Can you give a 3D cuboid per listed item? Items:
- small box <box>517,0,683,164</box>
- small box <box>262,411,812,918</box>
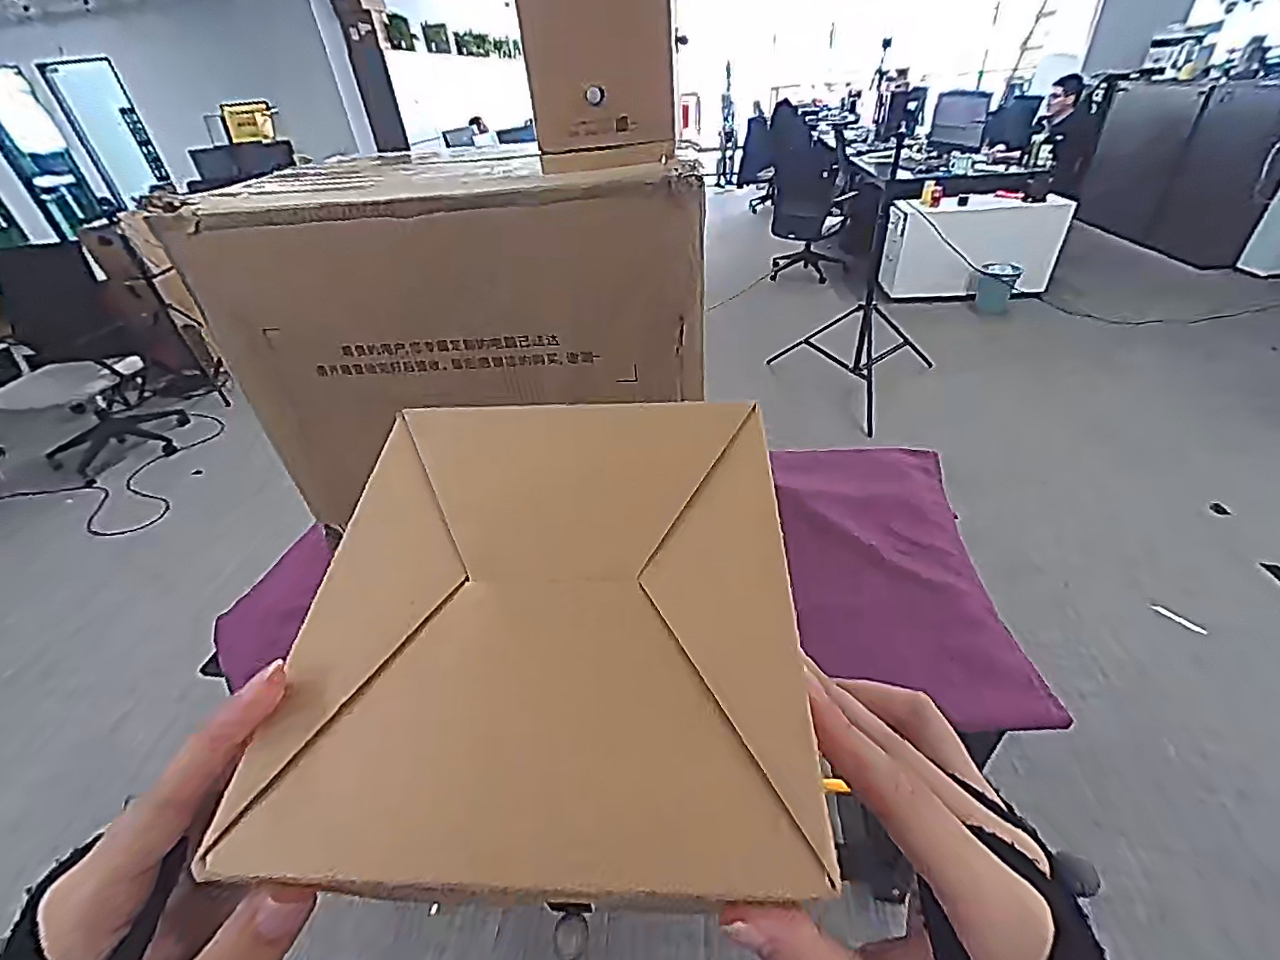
[{"bbox_3d":[-0.036,-0.493,0.659,0.168,0.176,0.179,-1,37,8],"label":"small box"},{"bbox_3d":[-0.025,0.089,0.255,0.168,0.176,0.179,-1,50,3],"label":"small box"}]
